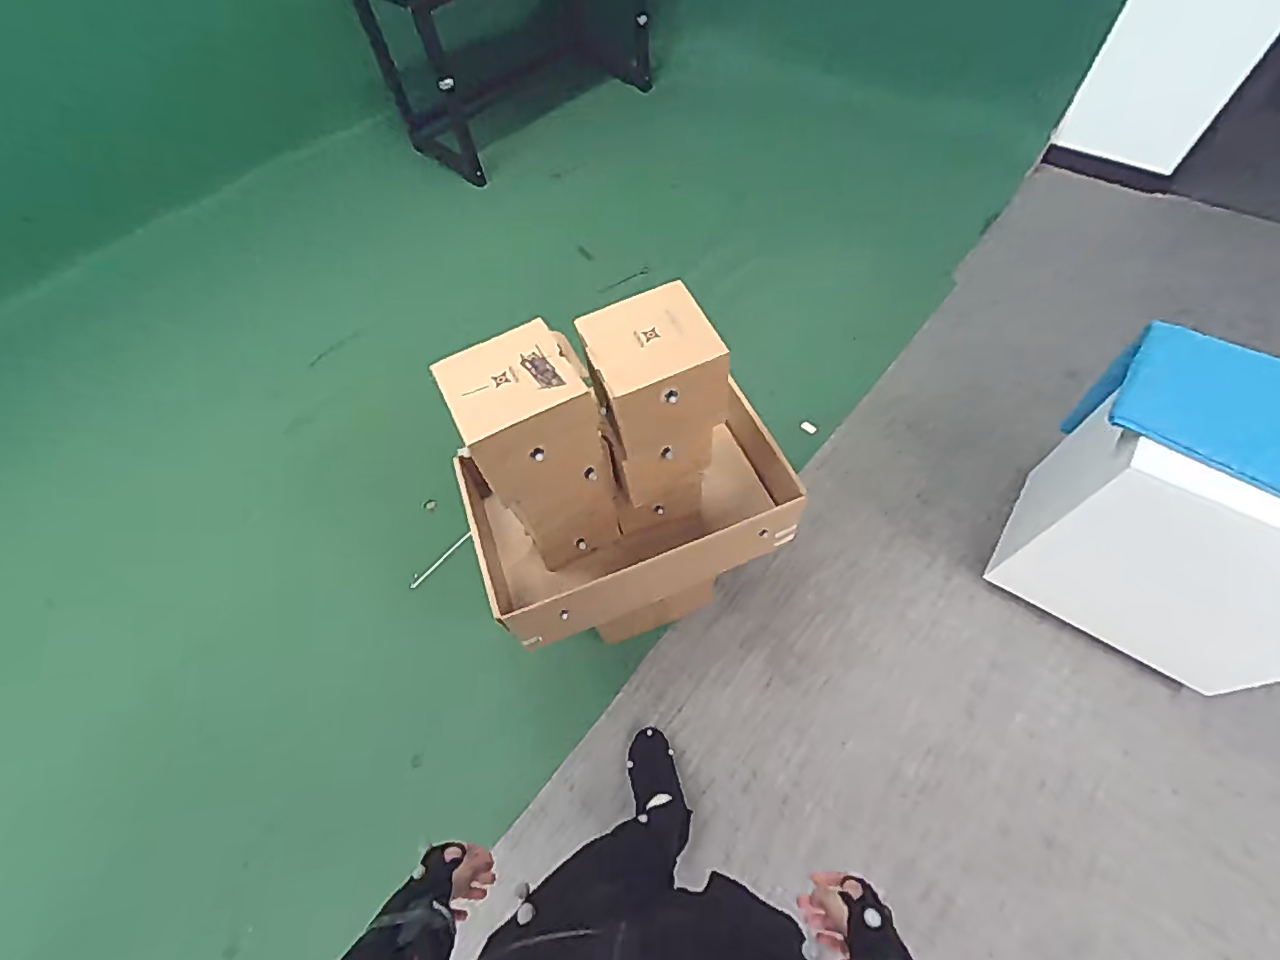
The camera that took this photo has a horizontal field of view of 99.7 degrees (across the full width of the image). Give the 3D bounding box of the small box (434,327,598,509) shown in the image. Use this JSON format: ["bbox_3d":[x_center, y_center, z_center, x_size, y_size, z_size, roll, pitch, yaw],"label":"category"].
[{"bbox_3d":[-0.174,-0.089,0.808,0.179,0.176,0.168,-27,59,-11],"label":"small box"}]

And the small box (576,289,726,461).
[{"bbox_3d":[0.021,-0.155,0.837,0.179,0.176,0.168,-22,60,-6],"label":"small box"}]
